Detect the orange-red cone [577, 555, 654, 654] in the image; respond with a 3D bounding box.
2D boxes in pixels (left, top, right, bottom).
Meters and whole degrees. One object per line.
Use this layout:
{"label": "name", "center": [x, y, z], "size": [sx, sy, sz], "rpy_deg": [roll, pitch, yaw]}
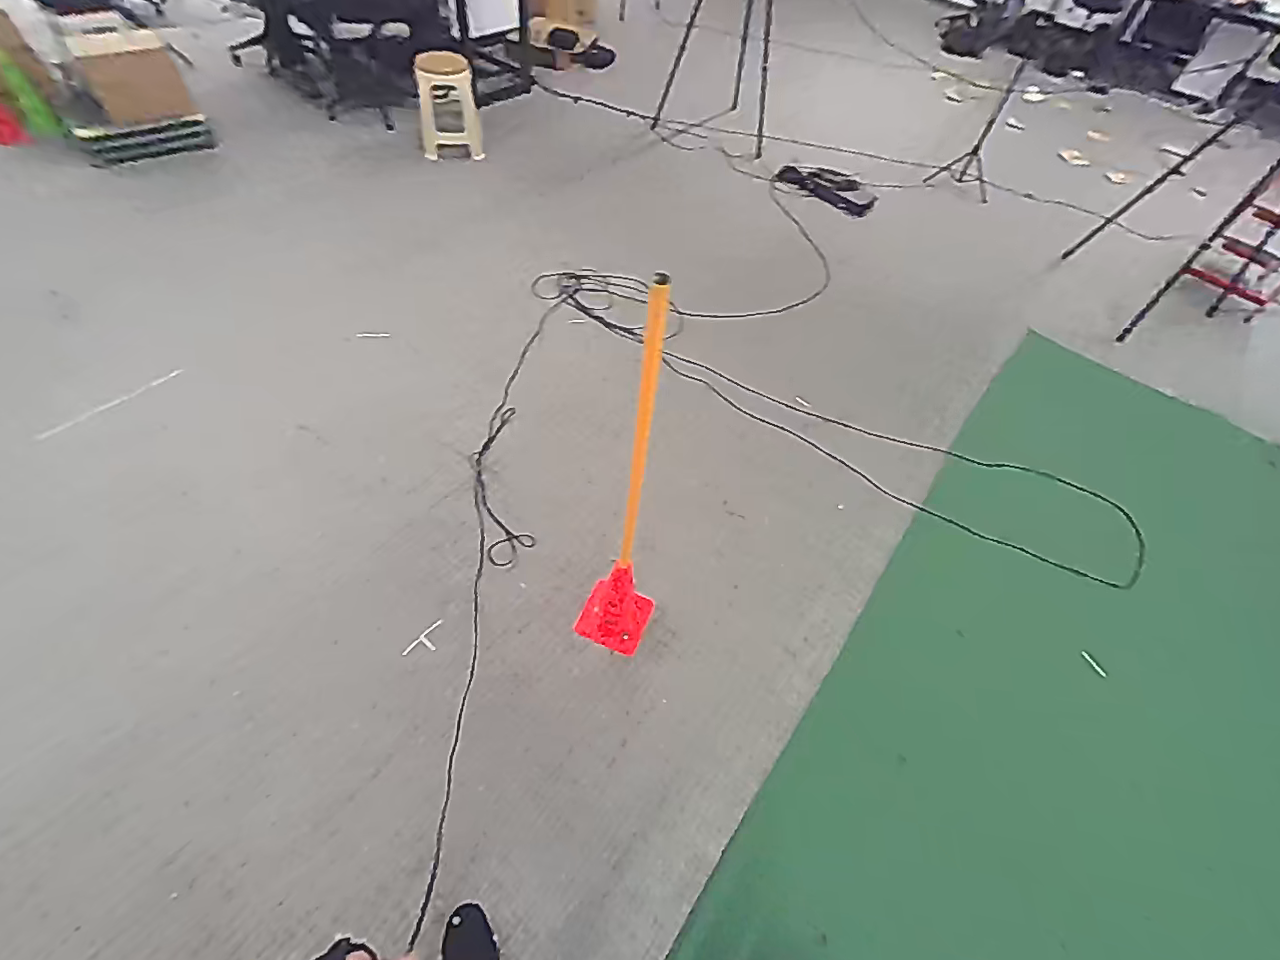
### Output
{"label": "orange-red cone", "center": [-0.053, 0.314, 1.535], "size": [0.198, 0.360, 0.199], "rpy_deg": [23, 53, 9]}
